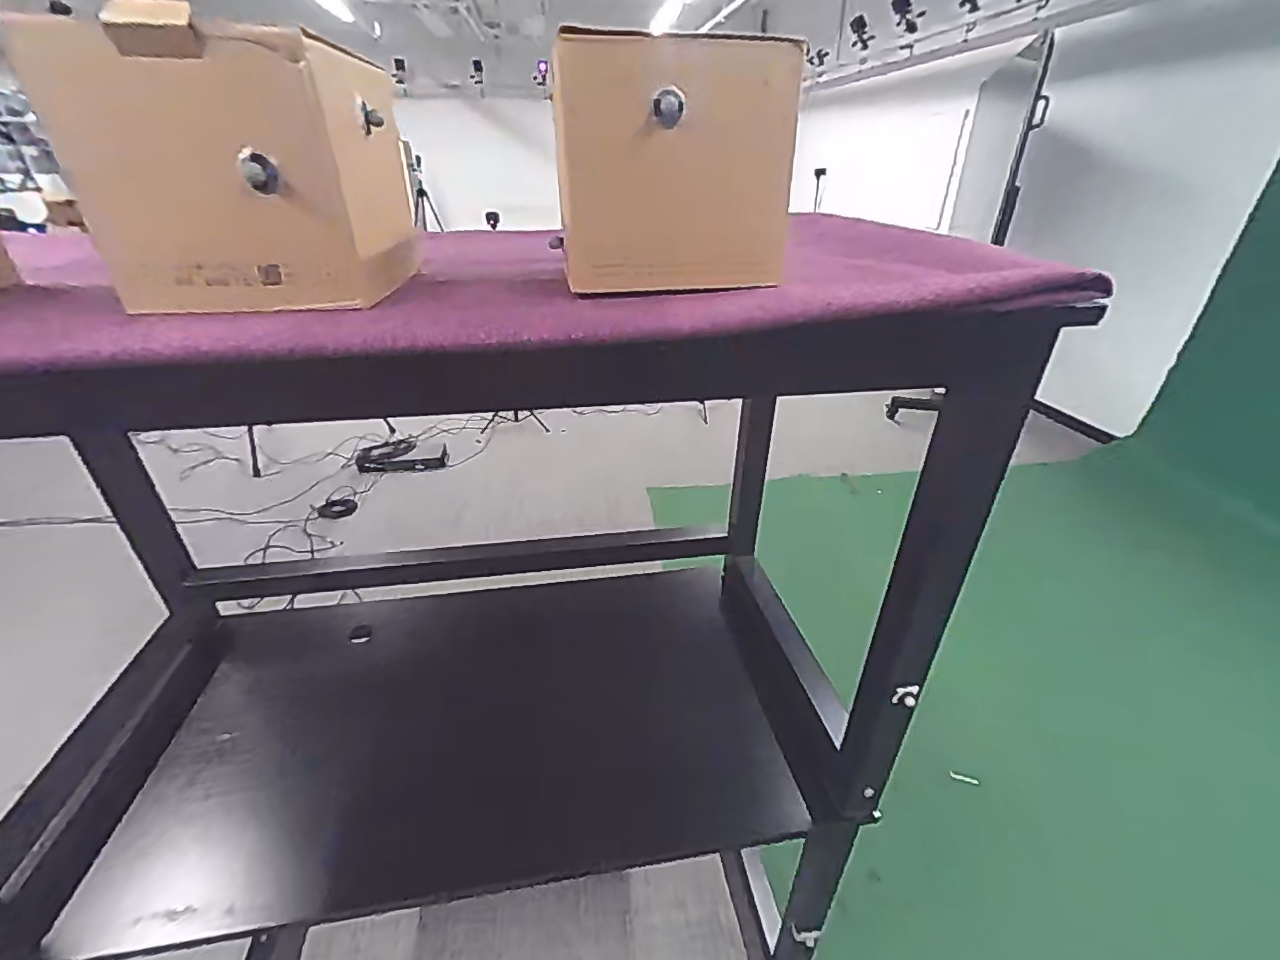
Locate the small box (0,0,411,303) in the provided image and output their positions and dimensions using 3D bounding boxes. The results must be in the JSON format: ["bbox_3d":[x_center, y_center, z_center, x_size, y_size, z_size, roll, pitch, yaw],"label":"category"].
[{"bbox_3d":[-0.290,-0.236,0.414,0.168,0.176,0.179,-3,29,-7],"label":"small box"}]

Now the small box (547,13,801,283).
[{"bbox_3d":[0.017,-0.268,0.465,0.179,0.176,0.168,-5,28,-8],"label":"small box"}]
